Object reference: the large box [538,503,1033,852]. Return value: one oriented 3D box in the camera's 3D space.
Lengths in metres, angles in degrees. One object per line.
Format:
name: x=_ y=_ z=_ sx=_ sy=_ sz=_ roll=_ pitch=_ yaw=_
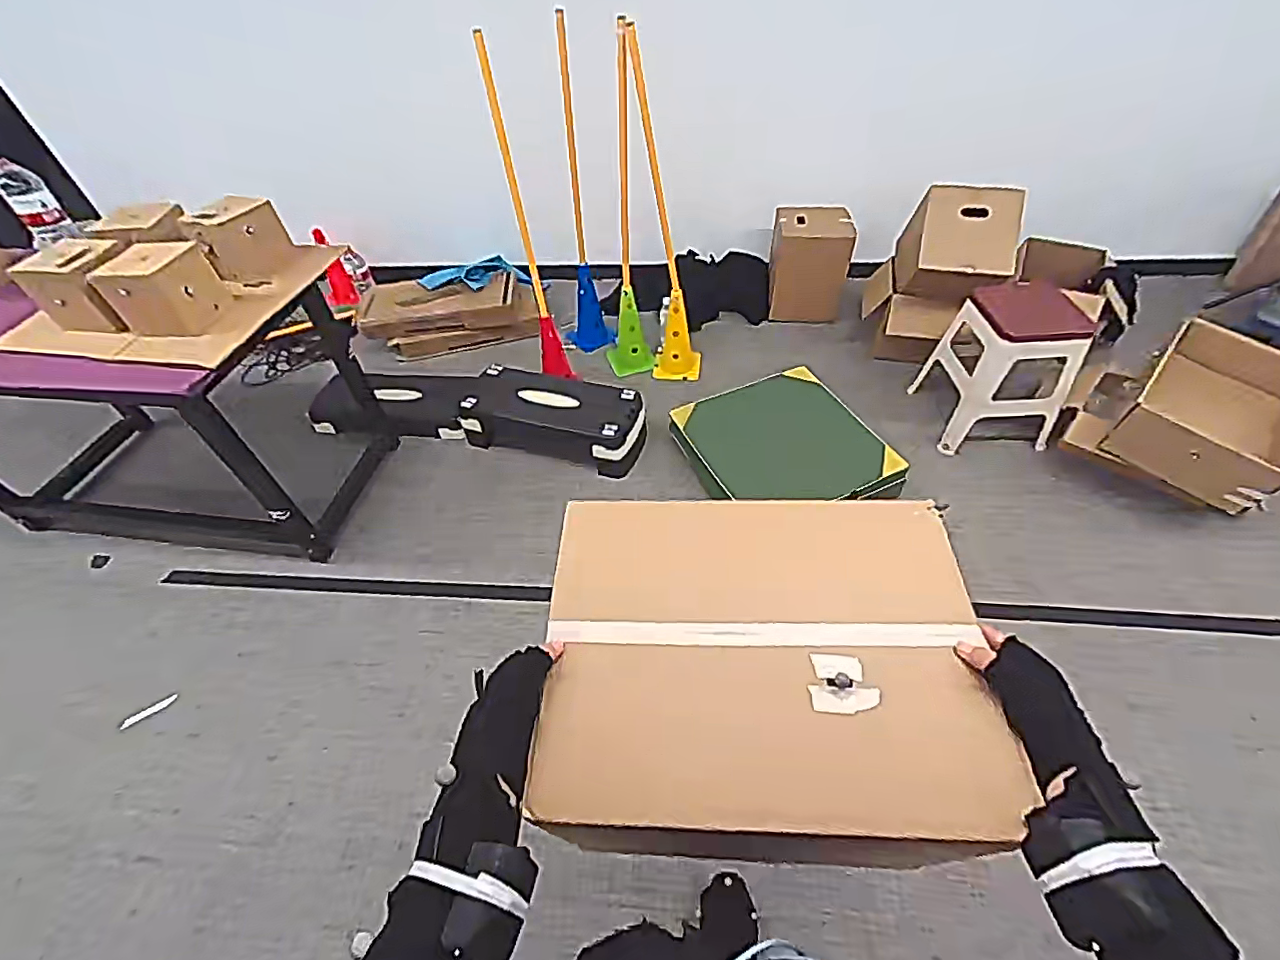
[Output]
large box: x=0.124 y=0.240 z=0.640 sx=0.408 sy=0.320 sz=0.320 roll=0 pitch=53 yaw=4
